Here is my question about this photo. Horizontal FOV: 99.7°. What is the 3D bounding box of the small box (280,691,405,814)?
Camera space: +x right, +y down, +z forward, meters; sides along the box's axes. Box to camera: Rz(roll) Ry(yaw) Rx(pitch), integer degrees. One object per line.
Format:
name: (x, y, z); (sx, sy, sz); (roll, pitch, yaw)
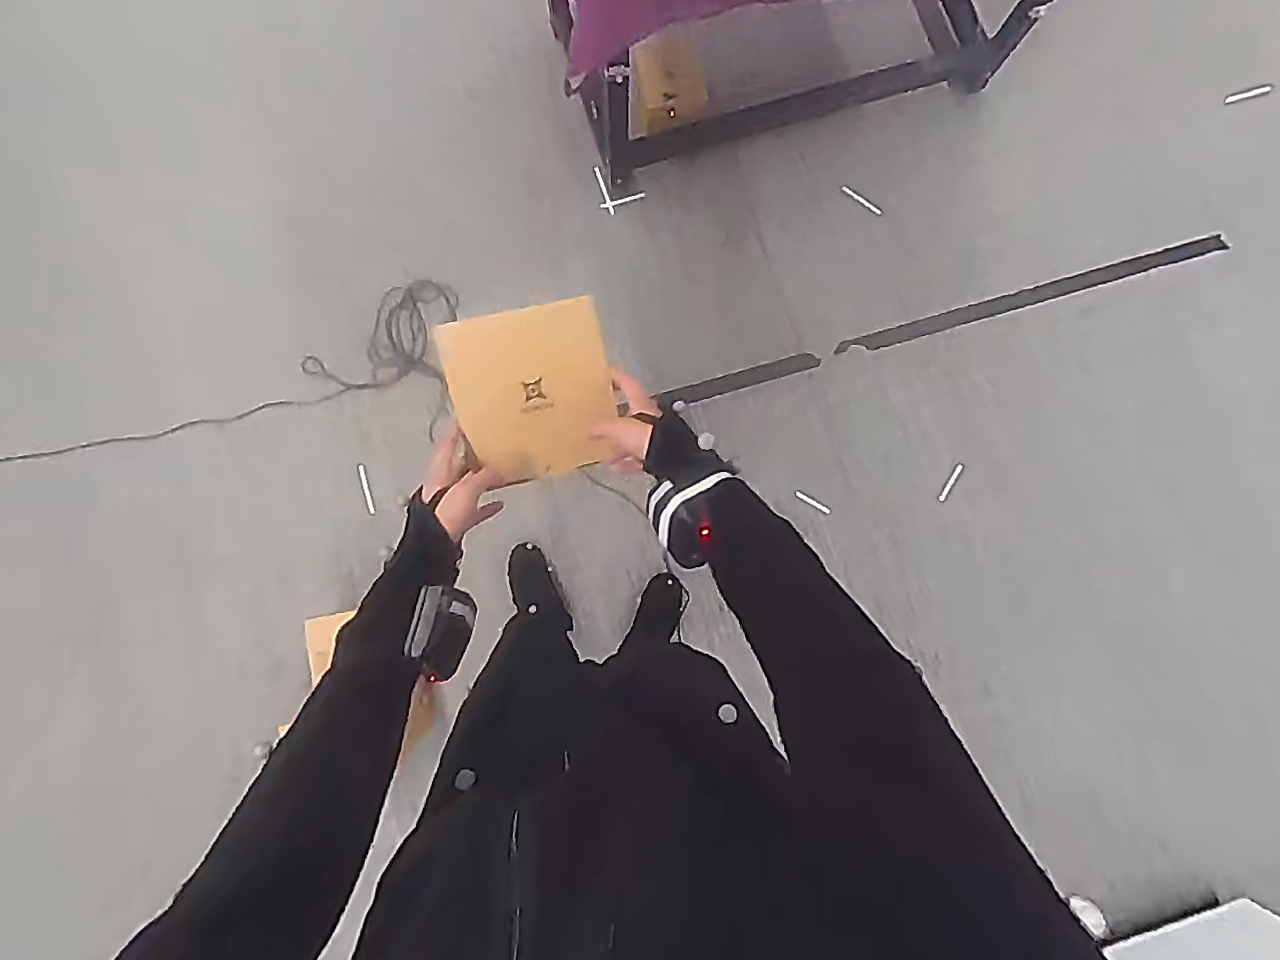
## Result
small box: (-0.628, 0.569, 1.157); (0.168, 0.176, 0.179); (-12, 86, -3)

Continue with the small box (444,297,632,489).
small box: (-0.117, -0.102, 0.637); (0.168, 0.176, 0.179); (-13, 102, -8)
